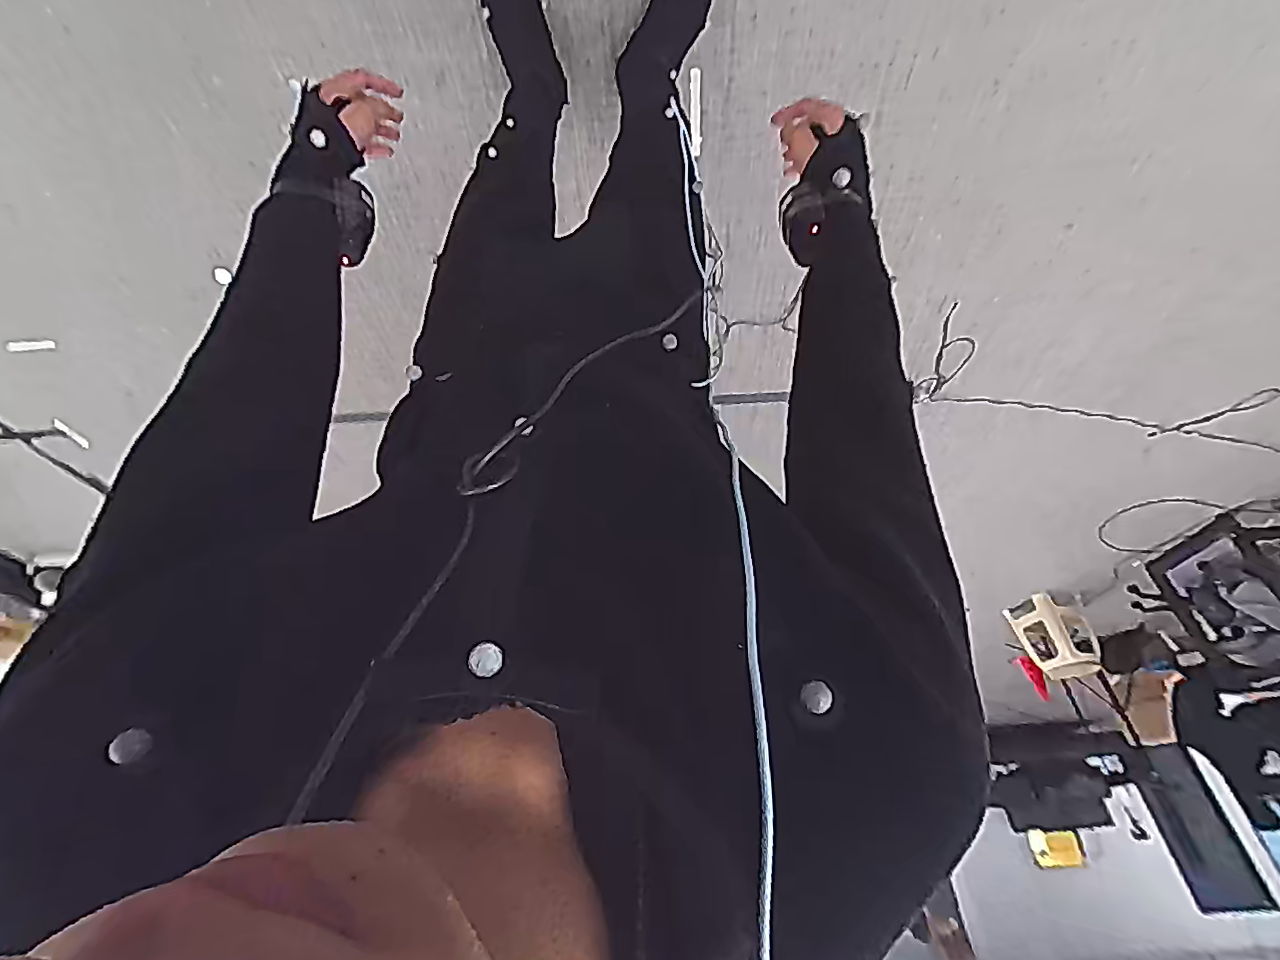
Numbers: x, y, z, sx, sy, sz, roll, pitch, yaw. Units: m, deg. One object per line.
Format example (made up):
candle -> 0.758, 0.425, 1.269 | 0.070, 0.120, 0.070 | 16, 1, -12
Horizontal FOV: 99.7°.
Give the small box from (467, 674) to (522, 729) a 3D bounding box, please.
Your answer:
small box -> -0.563, 0.868, 2.117 | 0.179, 0.176, 0.168 | -2, 145, -1
